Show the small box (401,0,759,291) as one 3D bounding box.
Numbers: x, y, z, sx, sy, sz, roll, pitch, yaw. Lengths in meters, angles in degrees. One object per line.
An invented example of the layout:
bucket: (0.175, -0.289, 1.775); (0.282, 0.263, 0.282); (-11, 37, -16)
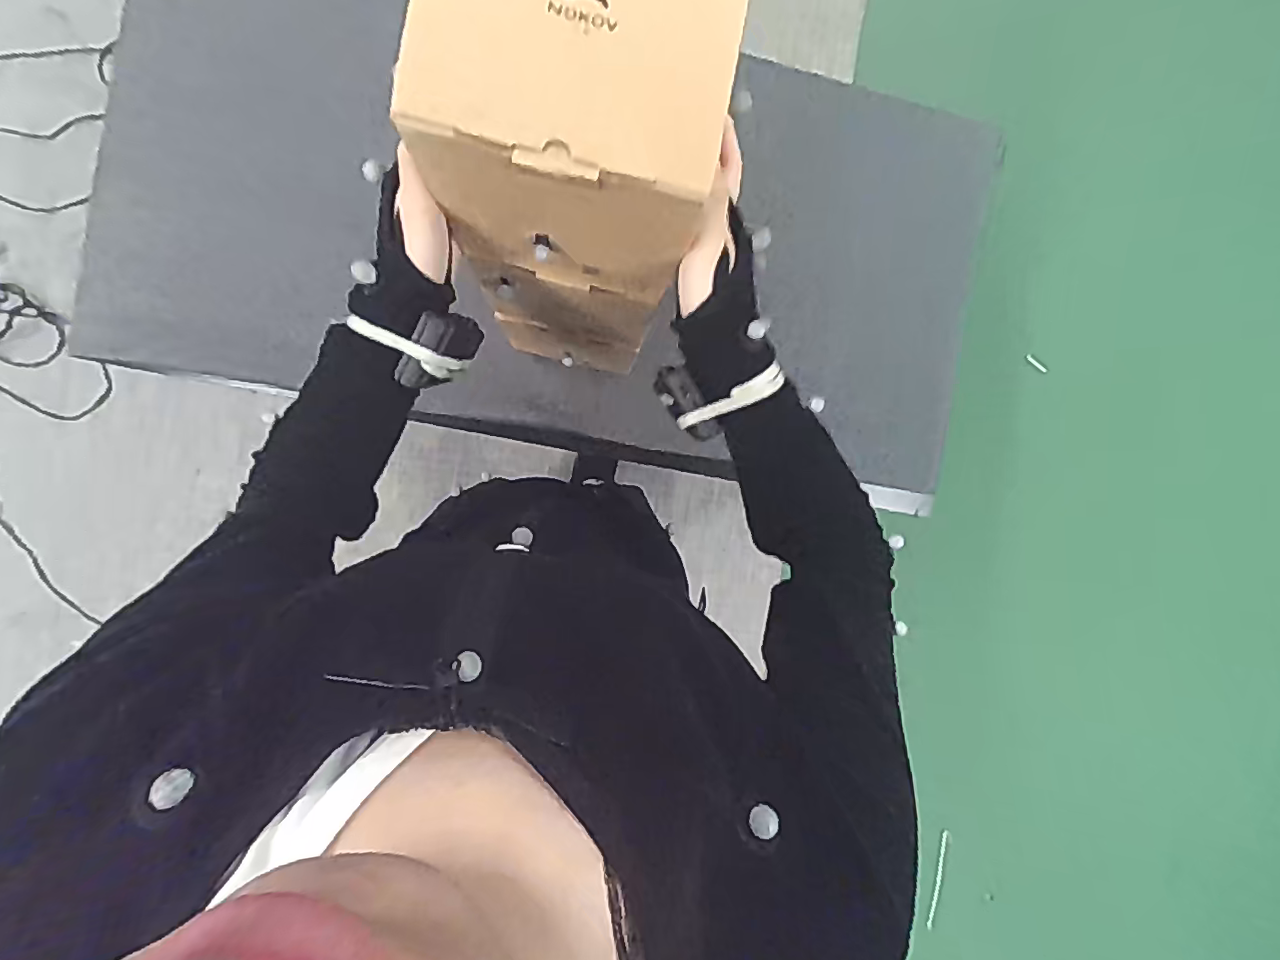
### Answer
small box: (-0.031, -0.248, 0.349); (0.168, 0.176, 0.179); (10, 91, -7)

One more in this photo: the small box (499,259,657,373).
small box: (-0.067, -0.247, 0.674); (0.168, 0.176, 0.179); (12, 90, -6)
